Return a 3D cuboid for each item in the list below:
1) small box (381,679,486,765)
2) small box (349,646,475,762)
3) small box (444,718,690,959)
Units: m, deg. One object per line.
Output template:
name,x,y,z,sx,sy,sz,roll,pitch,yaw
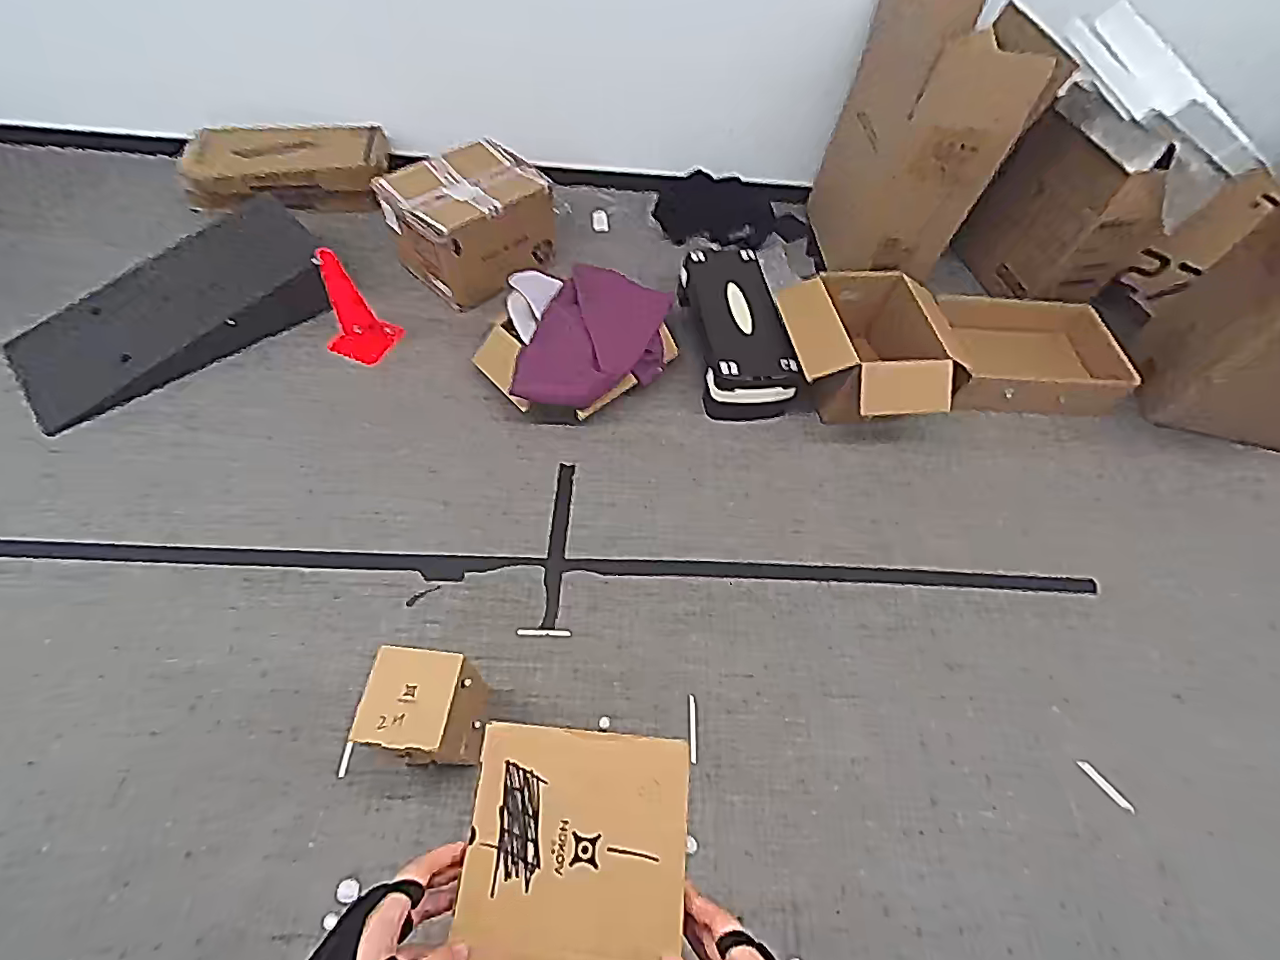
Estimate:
small box,-0.451,0.539,1.214,0.168,0.176,0.179,2,59,-3
small box,-0.438,0.449,1.076,0.168,0.176,0.179,7,58,0
small box,-0.050,0.321,0.498,0.179,0.176,0.168,4,64,3
